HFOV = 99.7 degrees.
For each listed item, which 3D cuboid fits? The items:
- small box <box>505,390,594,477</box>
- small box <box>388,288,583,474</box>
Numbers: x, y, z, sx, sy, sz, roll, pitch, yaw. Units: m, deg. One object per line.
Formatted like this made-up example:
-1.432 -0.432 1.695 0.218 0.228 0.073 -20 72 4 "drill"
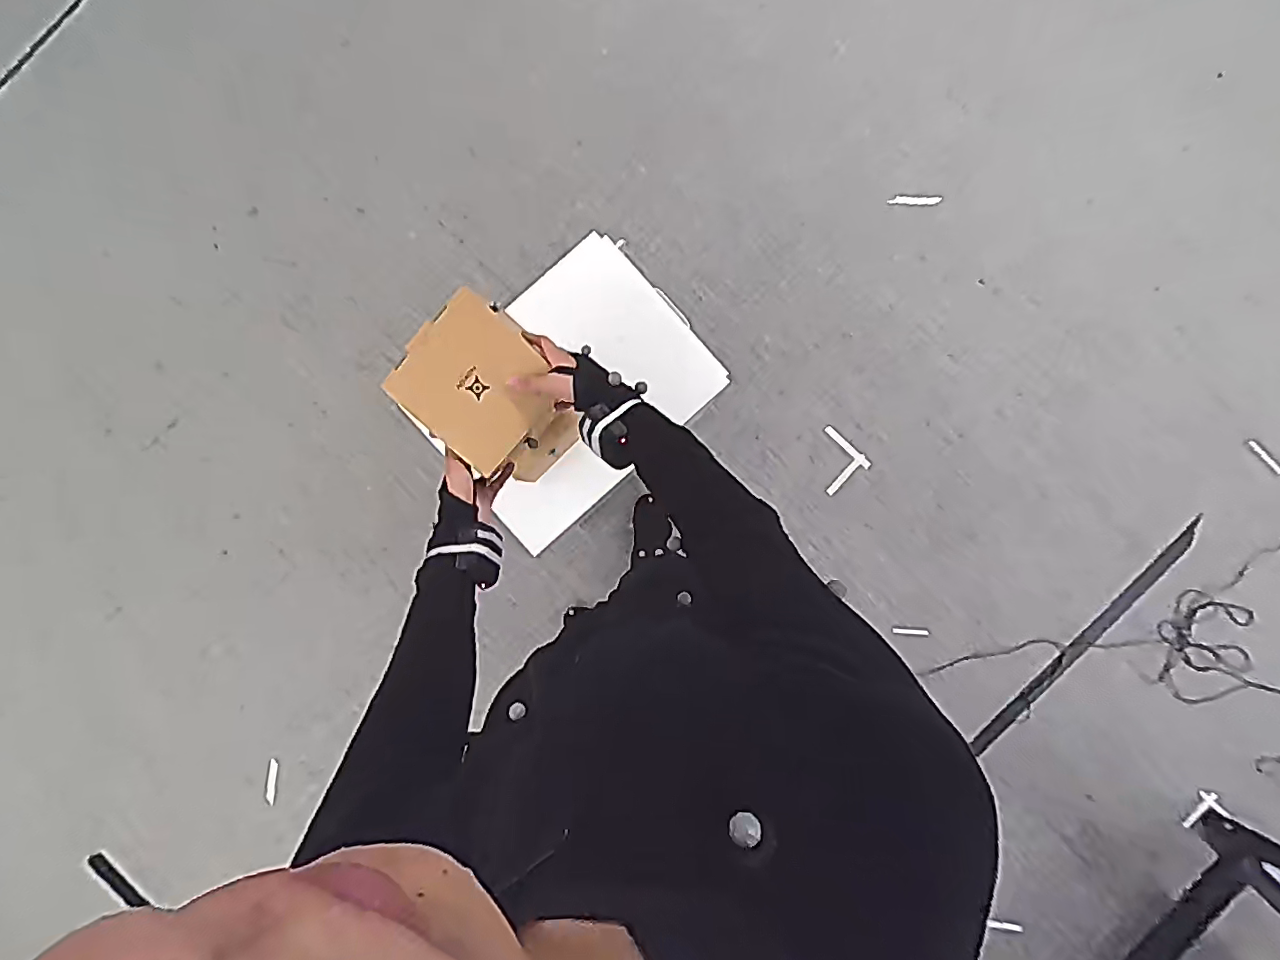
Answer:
-0.194 -0.119 0.957 0.168 0.176 0.179 45 88 0 "small box"
-0.200 -0.135 0.755 0.179 0.176 0.168 42 97 -4 "small box"
